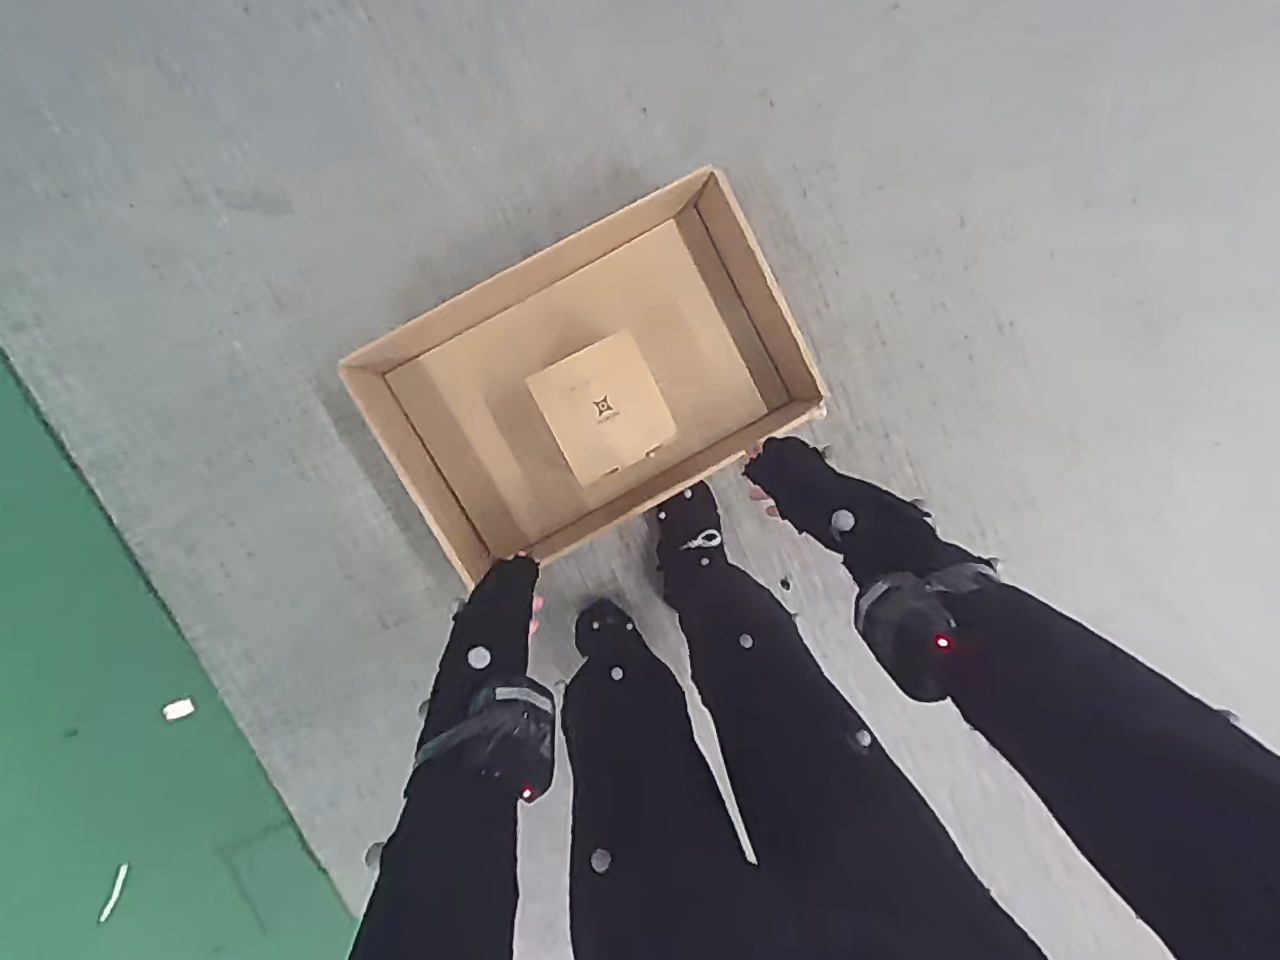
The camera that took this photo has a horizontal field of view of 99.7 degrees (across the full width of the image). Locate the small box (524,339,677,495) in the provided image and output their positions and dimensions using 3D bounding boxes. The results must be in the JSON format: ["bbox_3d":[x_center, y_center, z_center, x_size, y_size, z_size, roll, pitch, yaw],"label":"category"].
[{"bbox_3d":[-0.061,-0.096,0.850,0.168,0.176,0.179,-28,96,-3],"label":"small box"}]
